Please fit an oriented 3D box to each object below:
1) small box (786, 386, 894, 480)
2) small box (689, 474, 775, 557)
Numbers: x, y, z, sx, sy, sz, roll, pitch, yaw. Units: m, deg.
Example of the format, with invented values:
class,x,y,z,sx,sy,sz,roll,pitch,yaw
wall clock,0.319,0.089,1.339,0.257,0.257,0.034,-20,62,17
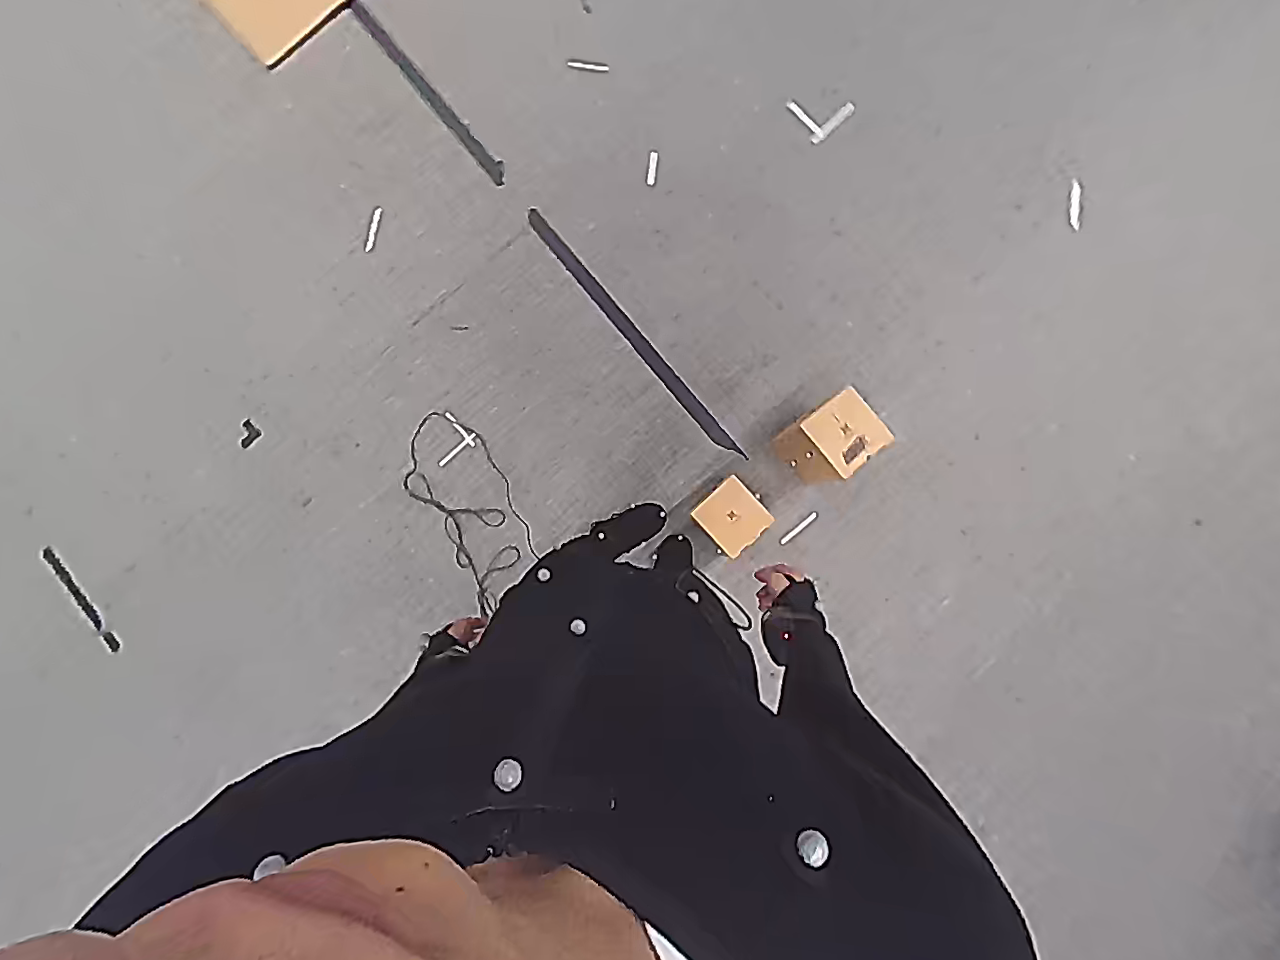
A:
class,x,y,z,sx,sy,sz,roll,pitch,yaw
small box,0.511,-0.114,1.408,0.168,0.176,0.179,-38,86,-1
small box,0.258,0.103,1.570,0.168,0.176,0.179,-42,88,-1
